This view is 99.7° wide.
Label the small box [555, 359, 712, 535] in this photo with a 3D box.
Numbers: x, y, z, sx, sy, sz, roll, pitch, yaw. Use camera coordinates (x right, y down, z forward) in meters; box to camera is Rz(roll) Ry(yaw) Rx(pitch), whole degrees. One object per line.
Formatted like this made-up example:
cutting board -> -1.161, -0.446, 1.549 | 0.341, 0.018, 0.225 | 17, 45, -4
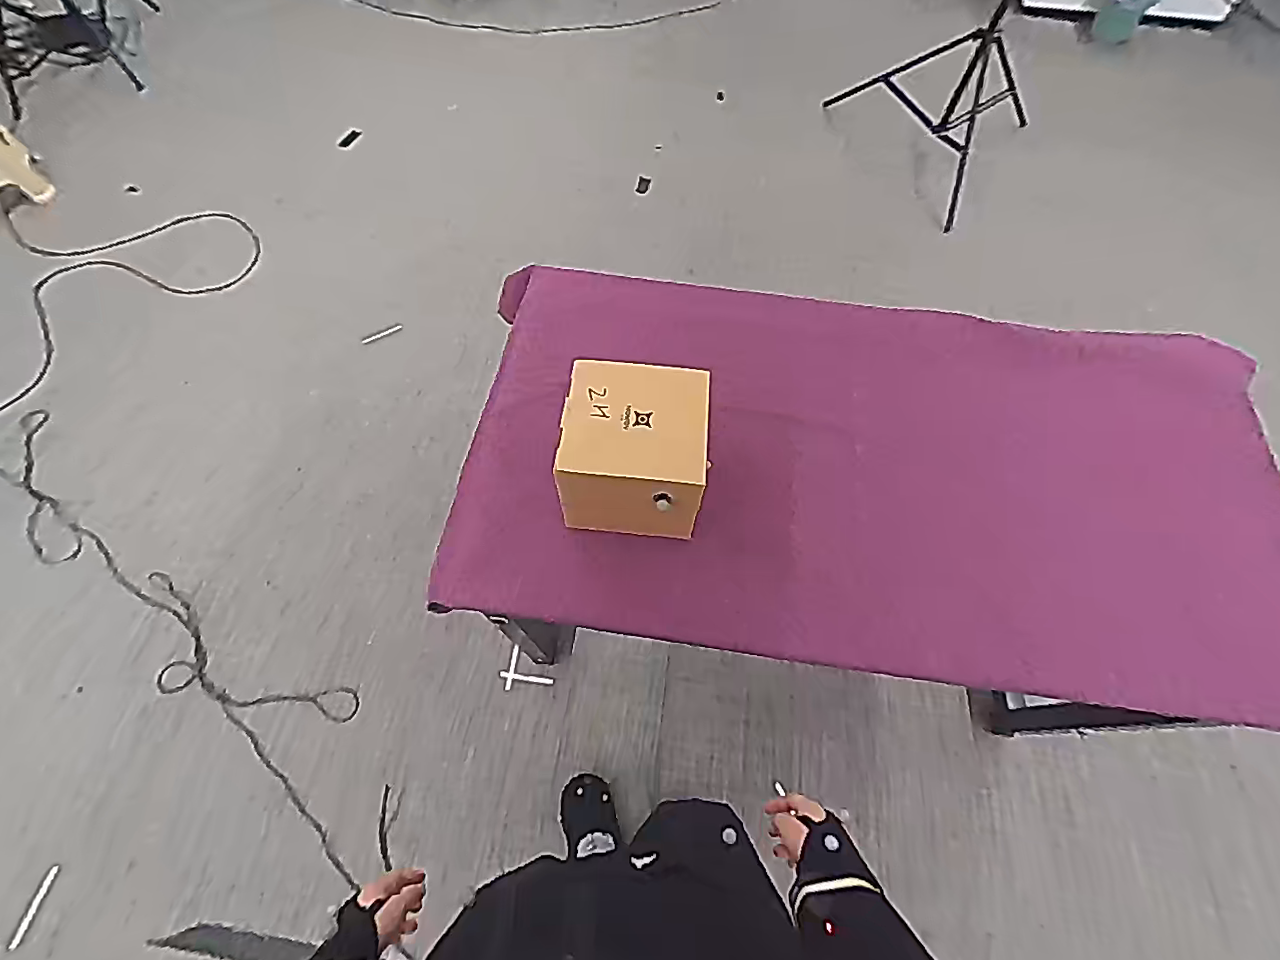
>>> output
small box -> -0.006, -0.036, 0.718 | 0.179, 0.176, 0.168 | 5, 62, 2
